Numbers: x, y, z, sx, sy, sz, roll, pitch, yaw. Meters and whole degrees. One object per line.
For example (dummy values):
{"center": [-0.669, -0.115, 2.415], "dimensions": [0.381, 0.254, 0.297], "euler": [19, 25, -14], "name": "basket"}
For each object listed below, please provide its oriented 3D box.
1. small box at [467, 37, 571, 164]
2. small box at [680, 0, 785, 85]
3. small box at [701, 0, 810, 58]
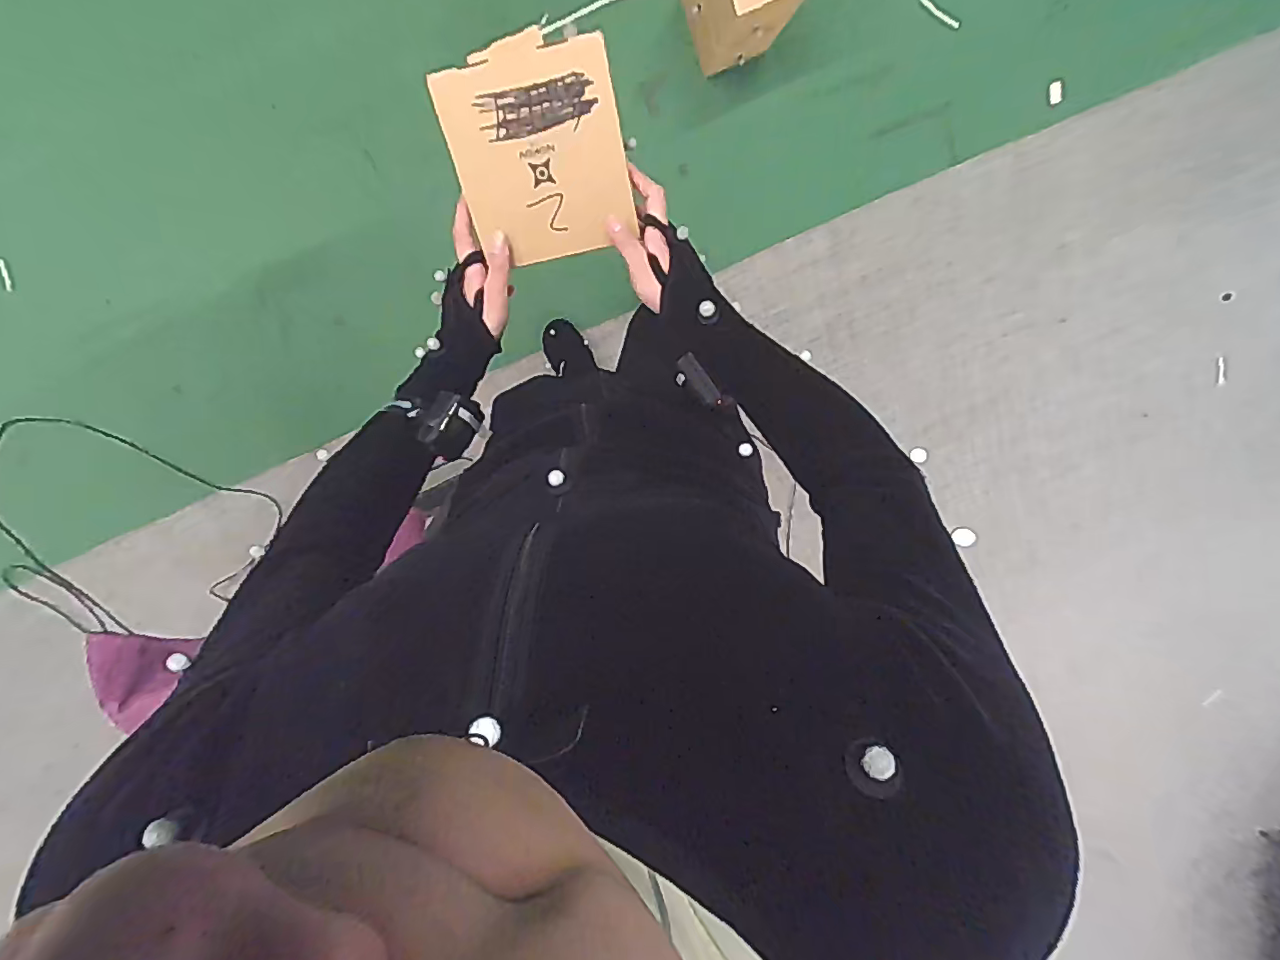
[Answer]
{"center": [-0.266, -0.852, 1.240], "dimensions": [0.168, 0.176, 0.179], "euler": [-22, 109, 4], "name": "small box"}
{"center": [0.200, -1.037, 1.212], "dimensions": [0.168, 0.176, 0.179], "euler": [-21, 110, 3], "name": "small box"}
{"center": [0.217, -0.982, 1.058], "dimensions": [0.168, 0.176, 0.179], "euler": [-22, 111, 3], "name": "small box"}
